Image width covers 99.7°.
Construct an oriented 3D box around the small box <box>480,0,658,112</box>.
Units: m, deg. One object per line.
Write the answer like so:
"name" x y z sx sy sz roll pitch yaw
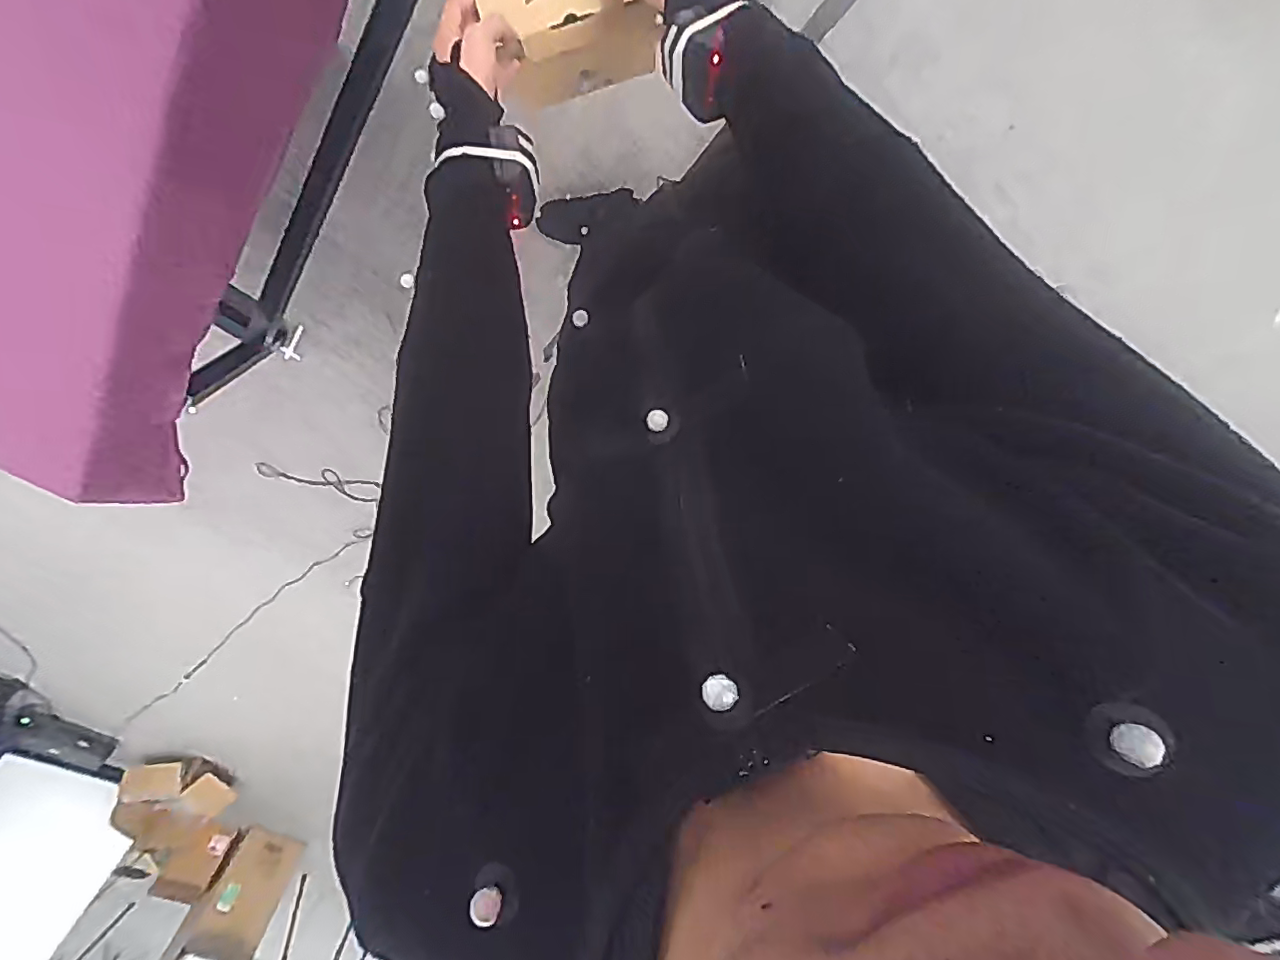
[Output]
"small box" -0.080 -0.531 0.569 0.168 0.176 0.179 -13 107 6
